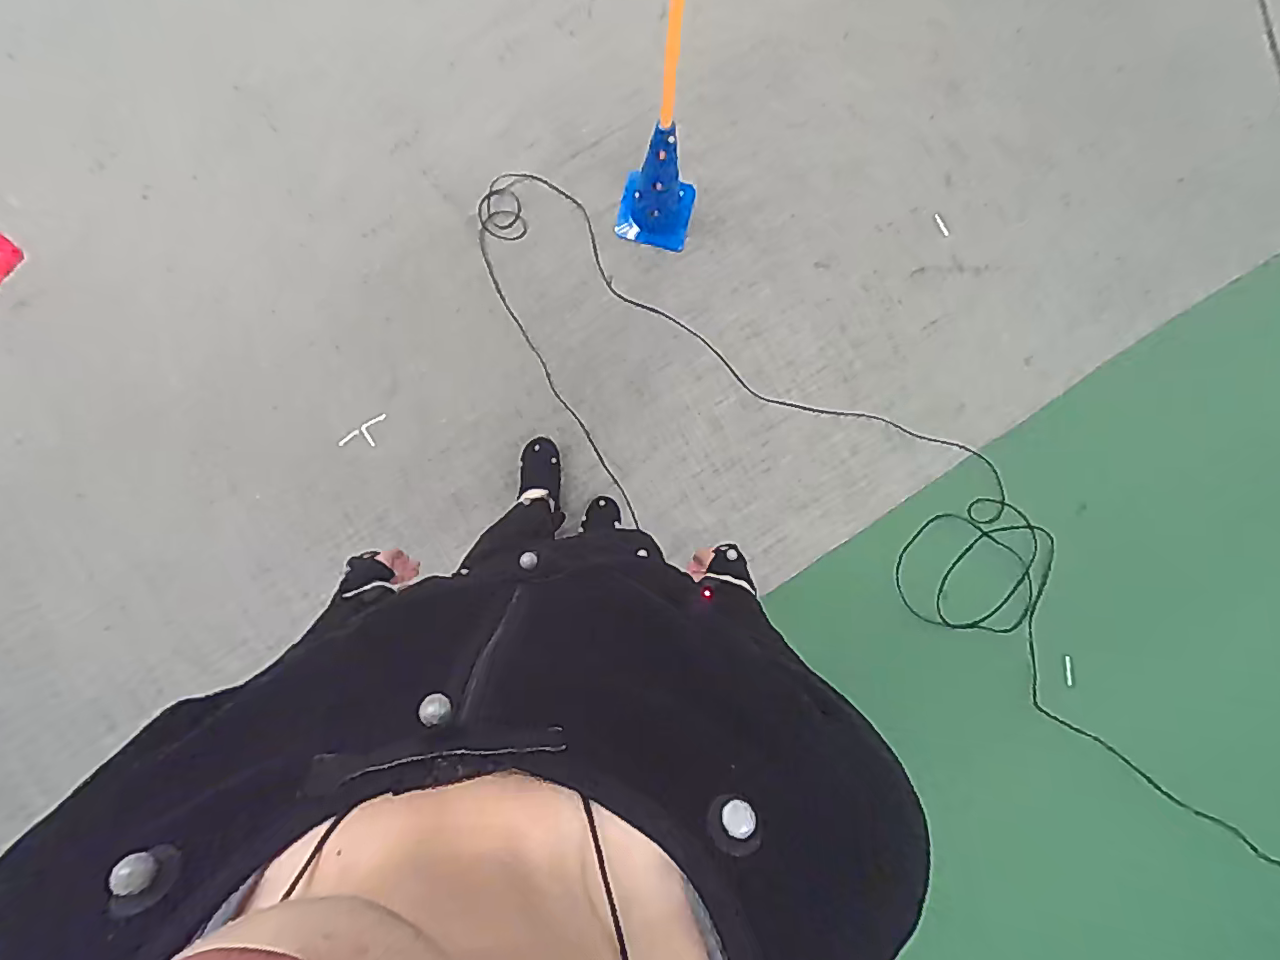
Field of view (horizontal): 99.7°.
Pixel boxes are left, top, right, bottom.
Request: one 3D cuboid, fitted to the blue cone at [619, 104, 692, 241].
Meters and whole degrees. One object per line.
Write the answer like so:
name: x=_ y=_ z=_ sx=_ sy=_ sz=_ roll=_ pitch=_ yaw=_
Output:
blue cone: x=0.051 y=-0.775 z=1.336 sx=0.192 sy=0.380 sz=0.193 roll=12 pitch=86 yaw=-2
